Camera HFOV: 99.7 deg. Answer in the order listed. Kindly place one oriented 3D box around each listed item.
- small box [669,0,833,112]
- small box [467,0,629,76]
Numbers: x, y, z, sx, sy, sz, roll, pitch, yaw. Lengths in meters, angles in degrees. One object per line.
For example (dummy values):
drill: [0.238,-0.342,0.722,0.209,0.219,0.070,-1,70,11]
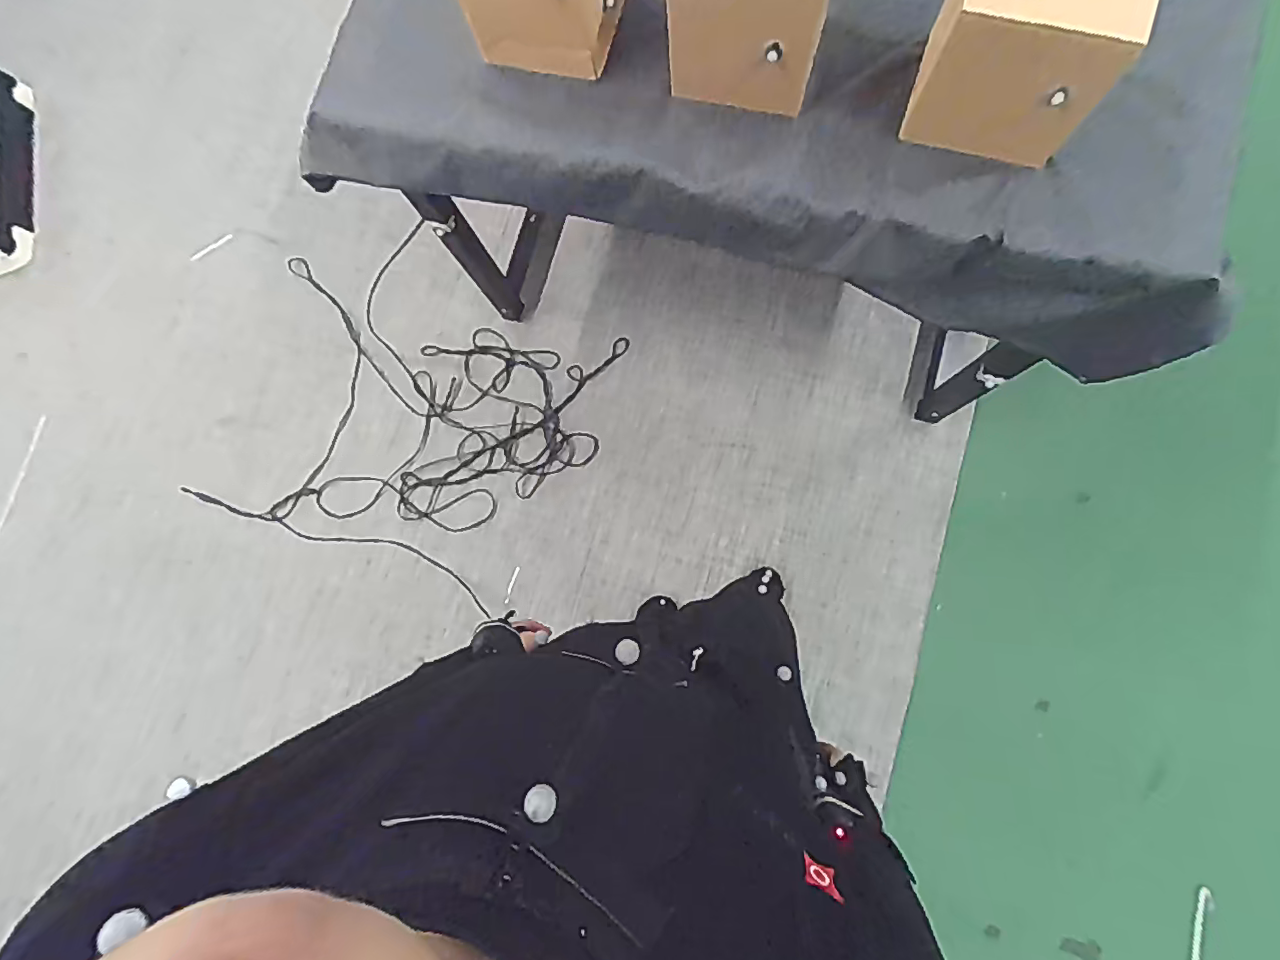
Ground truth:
small box: [0.143,-0.588,0.653,0.179,0.176,0.168,15,82,10]
small box: [-0.124,-0.666,0.695,0.179,0.176,0.168,14,83,8]
